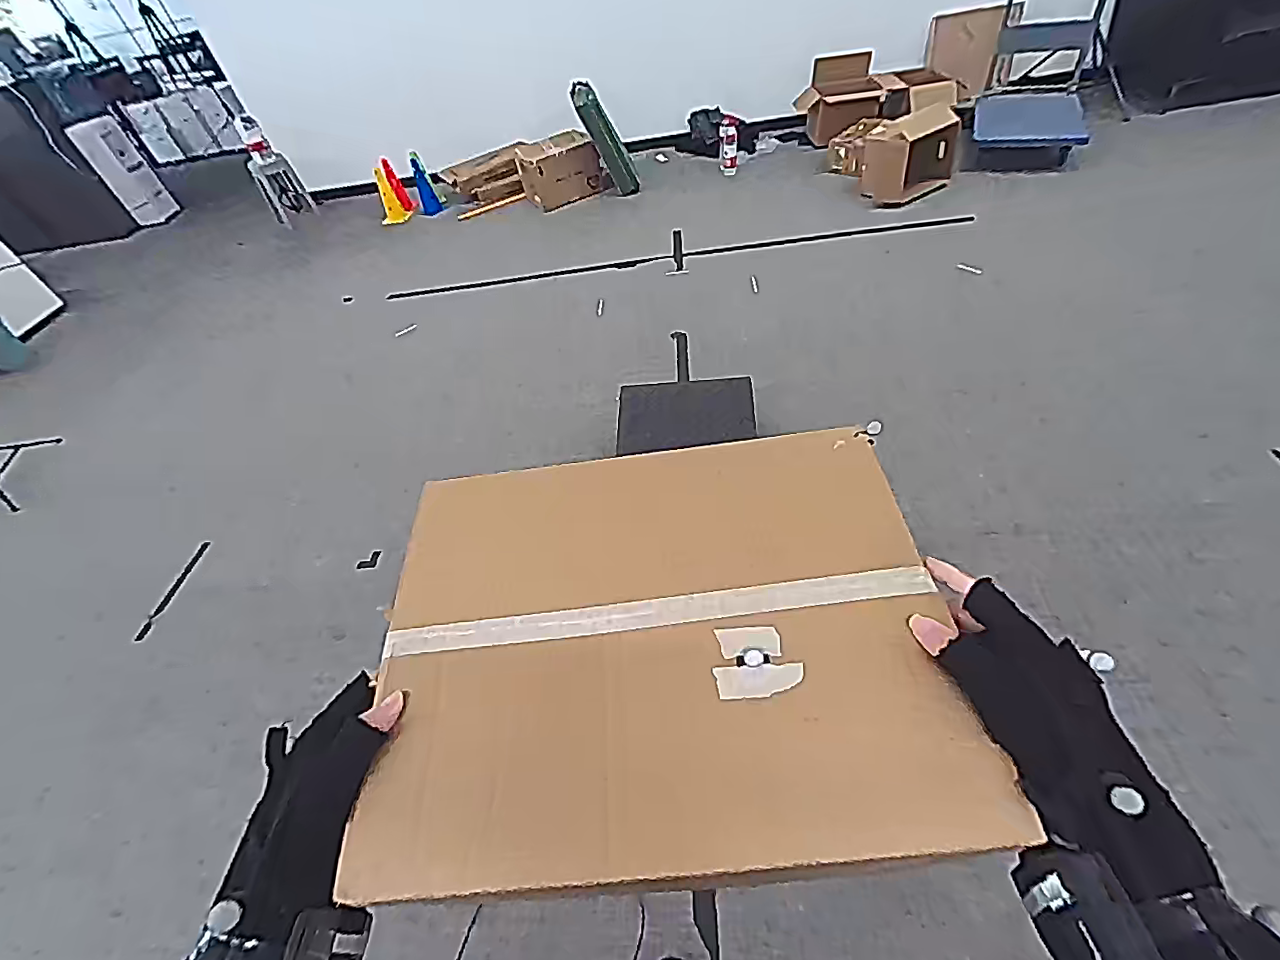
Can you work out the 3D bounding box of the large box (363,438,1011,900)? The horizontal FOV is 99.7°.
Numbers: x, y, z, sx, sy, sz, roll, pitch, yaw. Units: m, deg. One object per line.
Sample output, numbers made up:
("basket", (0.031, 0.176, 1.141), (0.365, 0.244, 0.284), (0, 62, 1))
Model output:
("large box", (0.028, 0.197, 0.531), (0.408, 0.320, 0.320), (-7, 52, 3))
